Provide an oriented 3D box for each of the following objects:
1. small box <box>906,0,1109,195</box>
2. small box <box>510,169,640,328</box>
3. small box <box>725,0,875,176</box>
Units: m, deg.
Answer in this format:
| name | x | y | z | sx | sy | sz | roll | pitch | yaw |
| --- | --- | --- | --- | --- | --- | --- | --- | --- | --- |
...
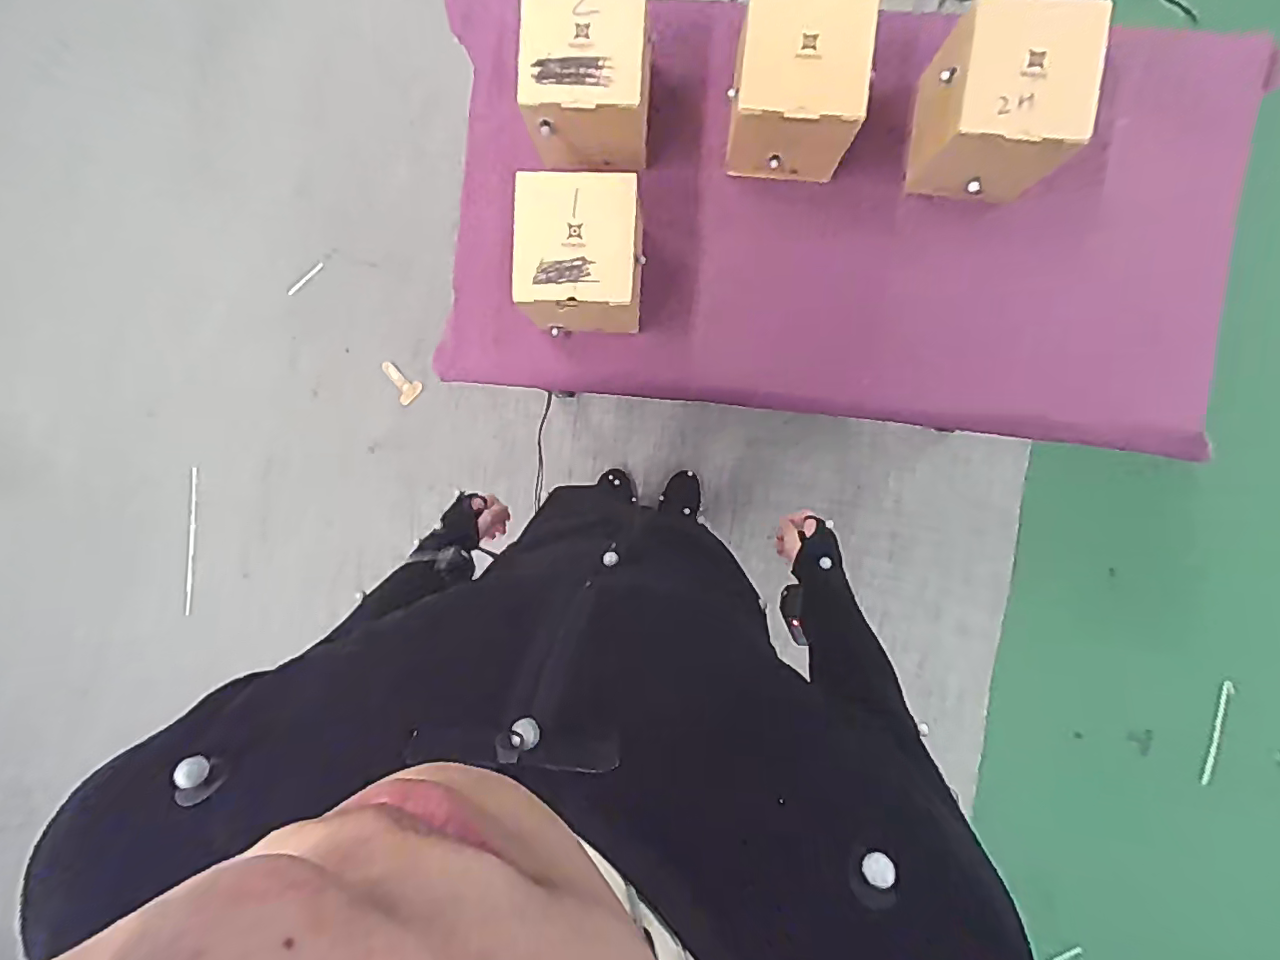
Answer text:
| name | x | y | z | sx | sy | sz | roll | pitch | yaw |
| --- | --- | --- | --- | --- | --- | --- | --- | --- | --- |
| small box | 0.497 | -0.533 | 0.760 | 0.168 | 0.176 | 0.179 | 7 | 95 | 4 |
| small box | -0.088 | -0.334 | 0.811 | 0.168 | 0.176 | 0.179 | 3 | 92 | 3 |
| small box | 0.218 | -0.573 | 0.779 | 0.168 | 0.176 | 0.179 | 6 | 96 | 3 |
